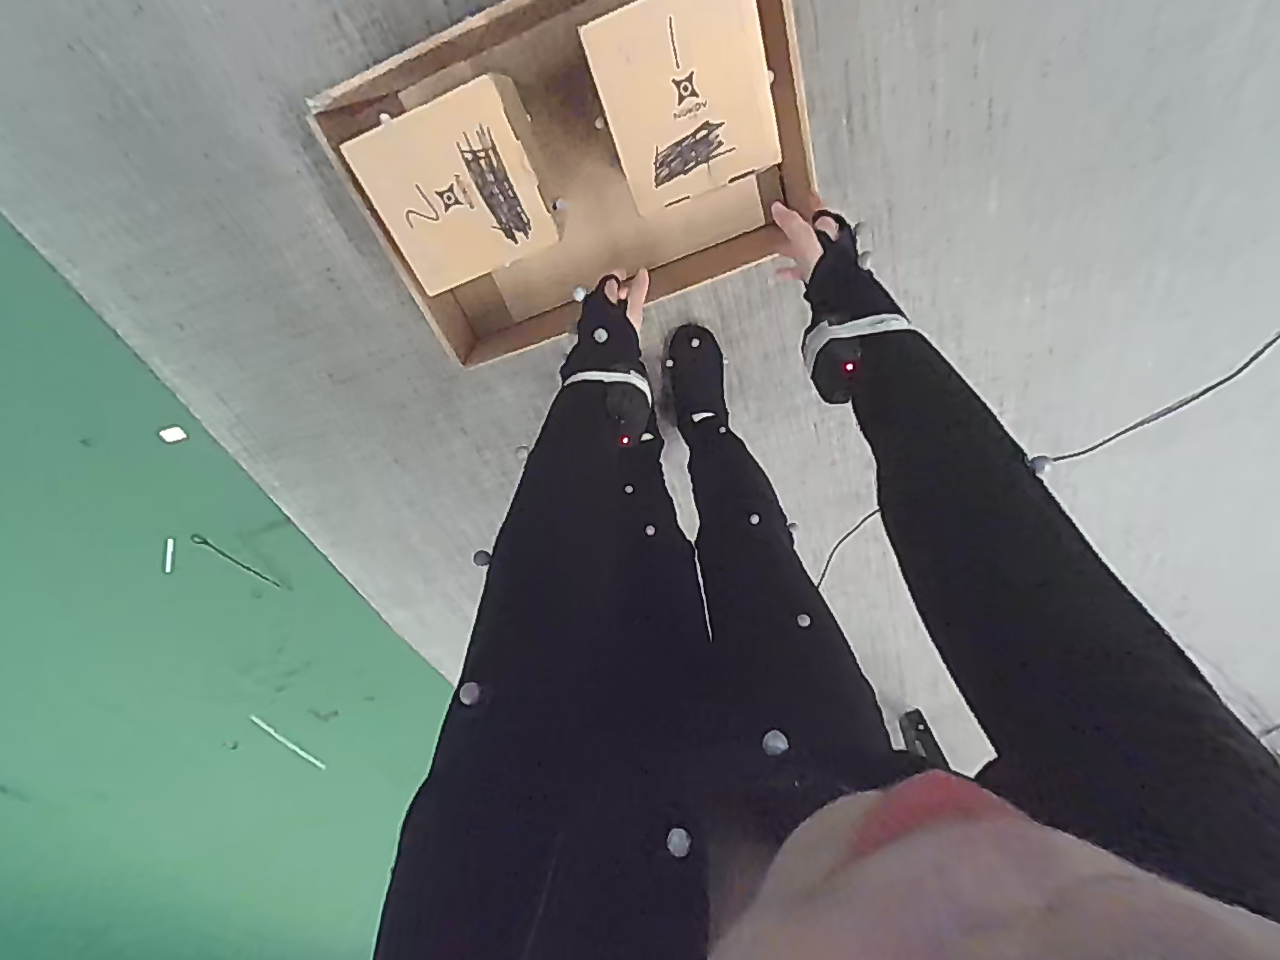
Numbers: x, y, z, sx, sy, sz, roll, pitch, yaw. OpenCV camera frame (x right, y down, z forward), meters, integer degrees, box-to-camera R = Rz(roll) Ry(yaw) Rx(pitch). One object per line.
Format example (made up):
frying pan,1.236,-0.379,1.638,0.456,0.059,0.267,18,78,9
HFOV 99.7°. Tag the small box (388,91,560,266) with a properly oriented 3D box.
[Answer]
small box,-0.223,-0.441,0.786,0.168,0.176,0.179,-15,124,6

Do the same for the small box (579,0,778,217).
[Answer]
small box,0.043,-0.428,0.608,0.168,0.176,0.179,-17,125,9
